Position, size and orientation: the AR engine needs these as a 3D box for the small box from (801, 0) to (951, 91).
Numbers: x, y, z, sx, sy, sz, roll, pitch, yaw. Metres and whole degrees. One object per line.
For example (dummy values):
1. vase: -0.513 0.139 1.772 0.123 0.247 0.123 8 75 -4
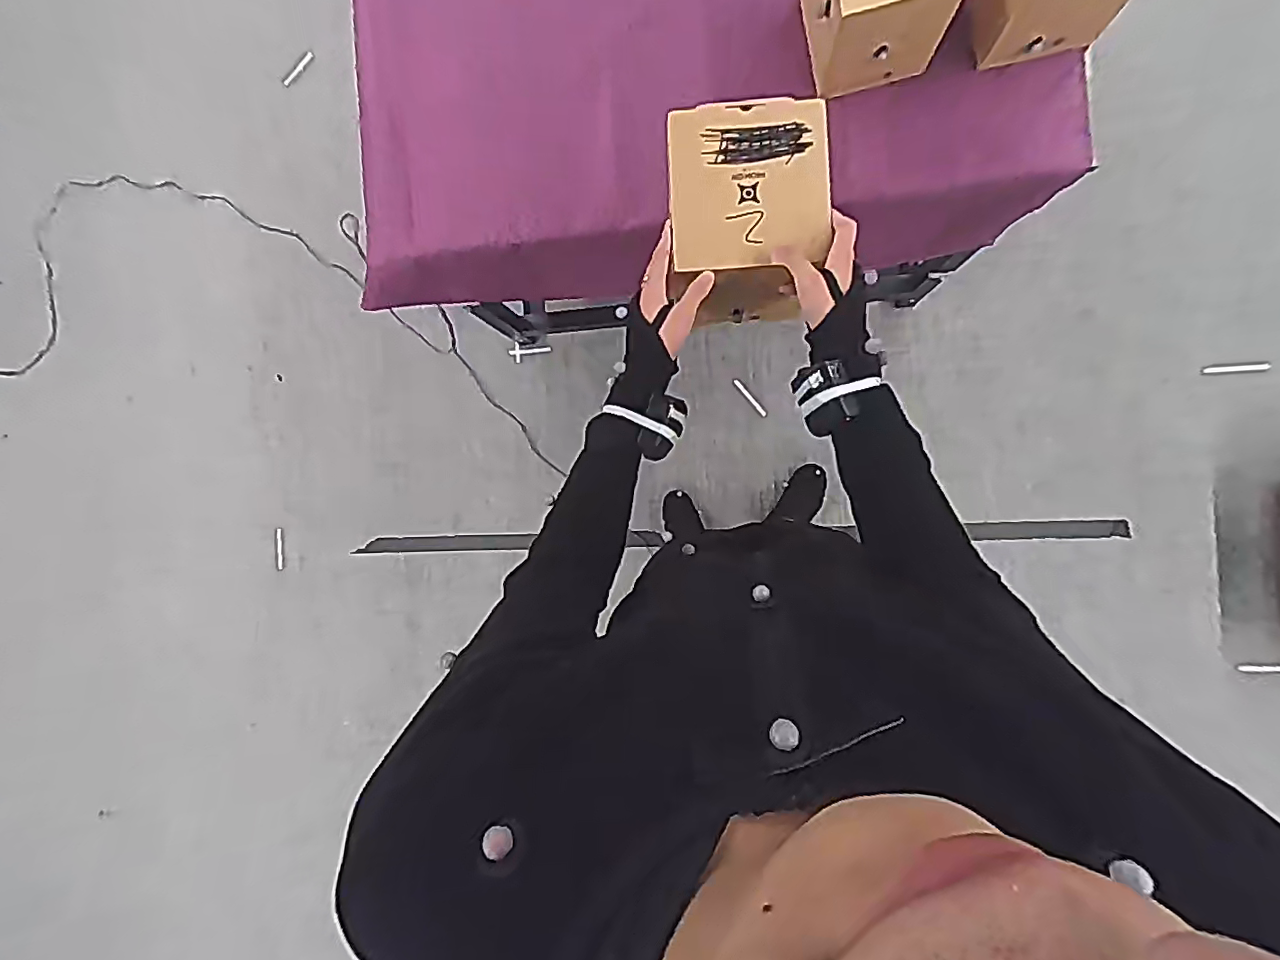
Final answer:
1. small box: 0.341 -0.711 0.789 0.168 0.176 0.179 -10 89 8

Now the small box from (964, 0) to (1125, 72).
1. small box: 0.577 -0.731 0.756 0.168 0.176 0.179 -8 89 9
